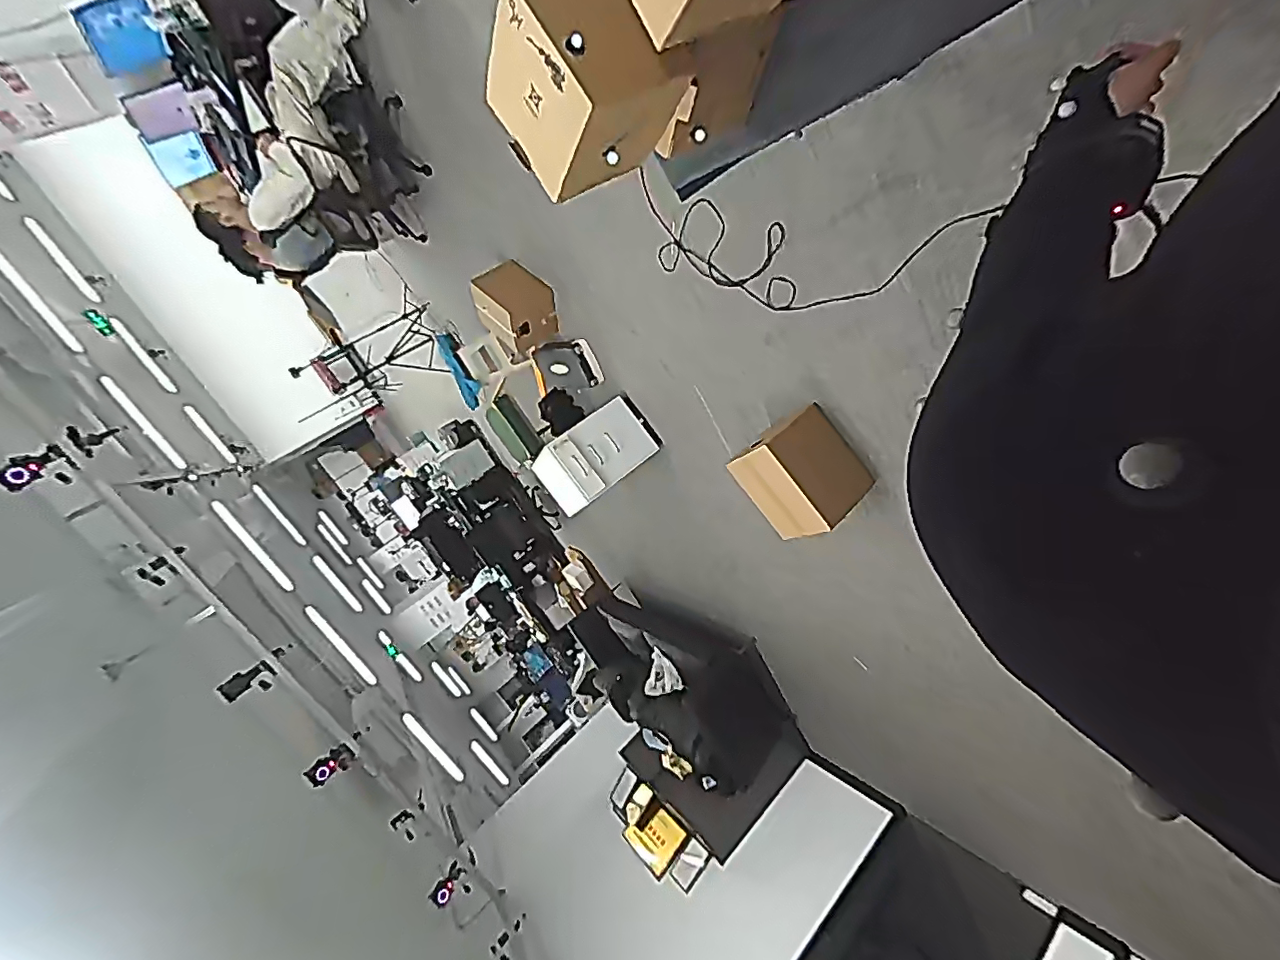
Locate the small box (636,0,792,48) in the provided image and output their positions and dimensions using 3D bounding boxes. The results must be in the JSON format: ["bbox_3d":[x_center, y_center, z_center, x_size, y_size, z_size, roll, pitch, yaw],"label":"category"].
[{"bbox_3d":[0.075,-0.509,0.434,0.179,0.176,0.168,58,158,-11],"label":"small box"}]

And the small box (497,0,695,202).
[{"bbox_3d":[-0.059,-0.504,0.691,0.168,0.176,0.179,55,158,-5],"label":"small box"}]
